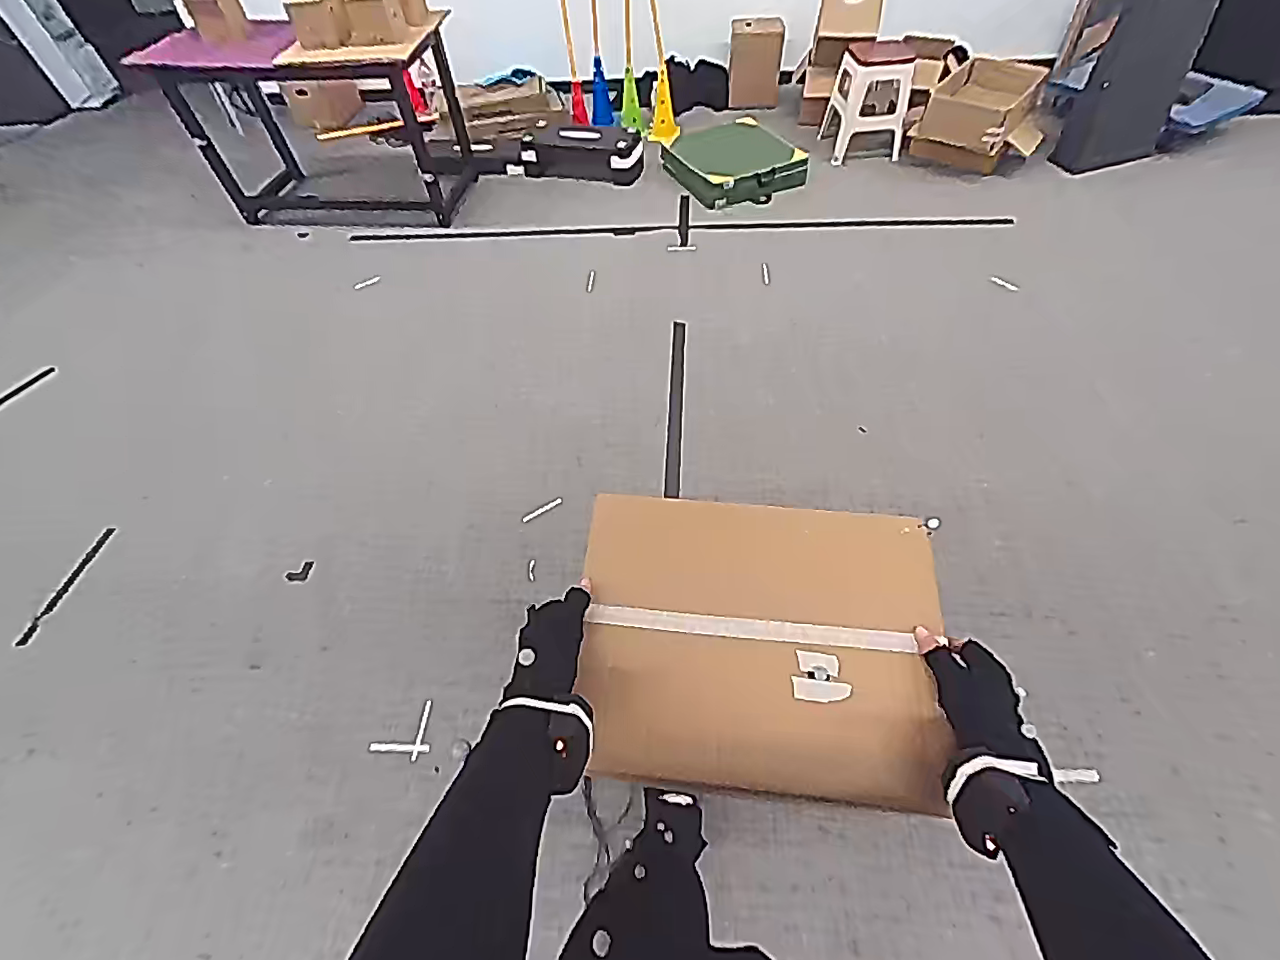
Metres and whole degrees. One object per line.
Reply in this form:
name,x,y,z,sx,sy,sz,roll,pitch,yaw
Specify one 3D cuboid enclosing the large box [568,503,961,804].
large box,0.139,0.249,0.748,0.408,0.320,0.320,4,60,6
